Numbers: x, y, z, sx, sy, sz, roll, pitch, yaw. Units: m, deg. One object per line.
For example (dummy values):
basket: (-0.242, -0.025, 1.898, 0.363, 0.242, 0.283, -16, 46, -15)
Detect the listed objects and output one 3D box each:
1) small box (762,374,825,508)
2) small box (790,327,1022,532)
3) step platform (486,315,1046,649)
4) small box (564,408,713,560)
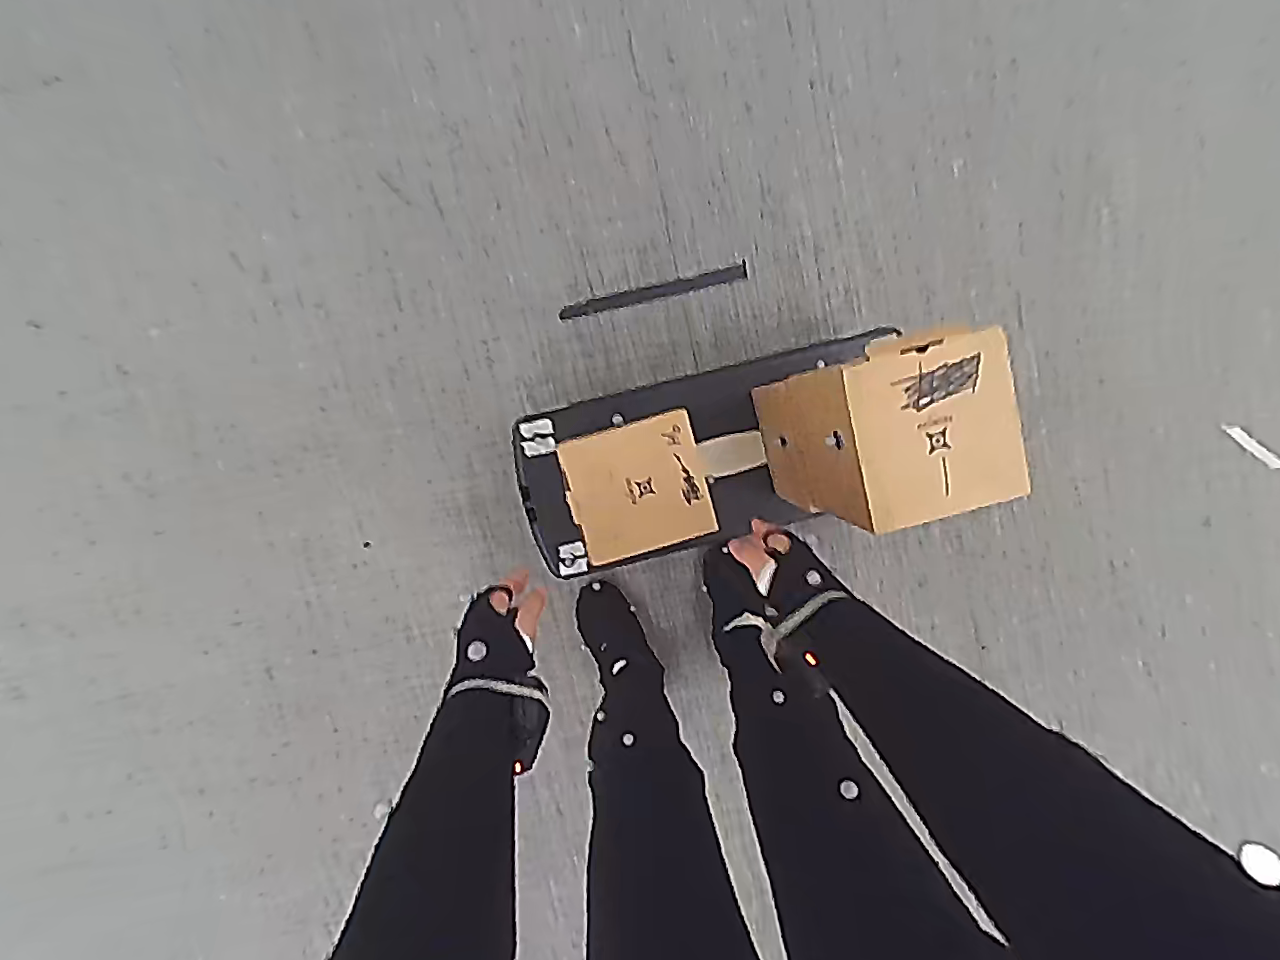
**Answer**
small box: (0.274, -0.073, 0.783, 0.168, 0.176, 0.179, -15, 98, 0)
small box: (0.288, -0.058, 0.620, 0.168, 0.176, 0.179, -15, 98, 0)
step platform: (0.157, -0.001, 0.752, 0.684, 0.204, 0.286, -14, 97, -1)
small box: (-0.007, -0.001, 0.781, 0.179, 0.176, 0.168, -16, 97, 0)
